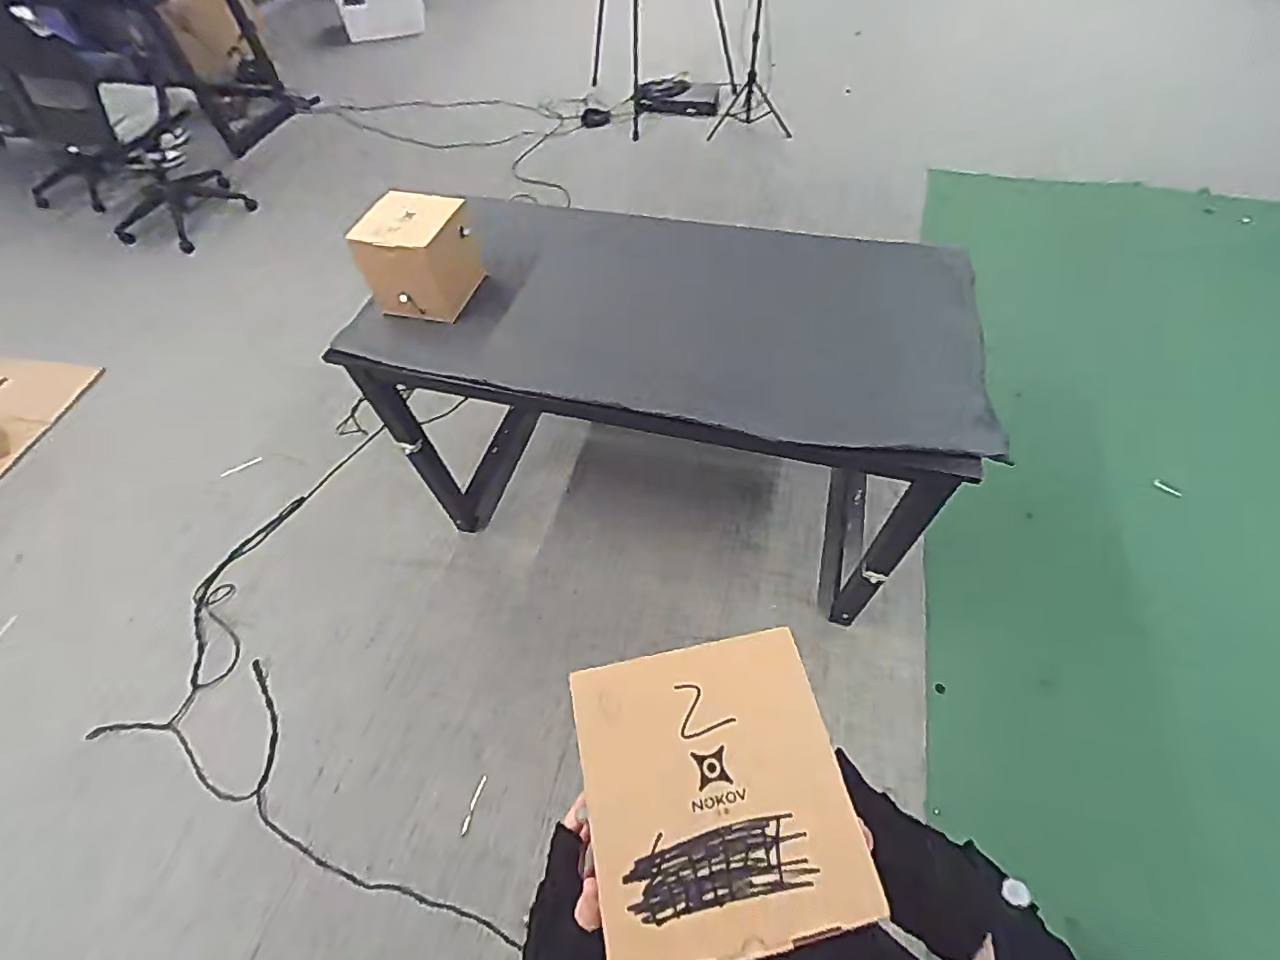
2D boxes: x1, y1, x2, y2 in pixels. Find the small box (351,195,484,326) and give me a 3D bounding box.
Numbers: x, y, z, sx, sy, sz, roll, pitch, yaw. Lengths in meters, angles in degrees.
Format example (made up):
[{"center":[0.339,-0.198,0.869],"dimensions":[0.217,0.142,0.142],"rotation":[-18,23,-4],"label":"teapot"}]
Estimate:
[{"center":[-0.433,-0.441,1.090],"dimensions":[0.168,0.176,0.179],"rotation":[11,55,9],"label":"small box"}]
